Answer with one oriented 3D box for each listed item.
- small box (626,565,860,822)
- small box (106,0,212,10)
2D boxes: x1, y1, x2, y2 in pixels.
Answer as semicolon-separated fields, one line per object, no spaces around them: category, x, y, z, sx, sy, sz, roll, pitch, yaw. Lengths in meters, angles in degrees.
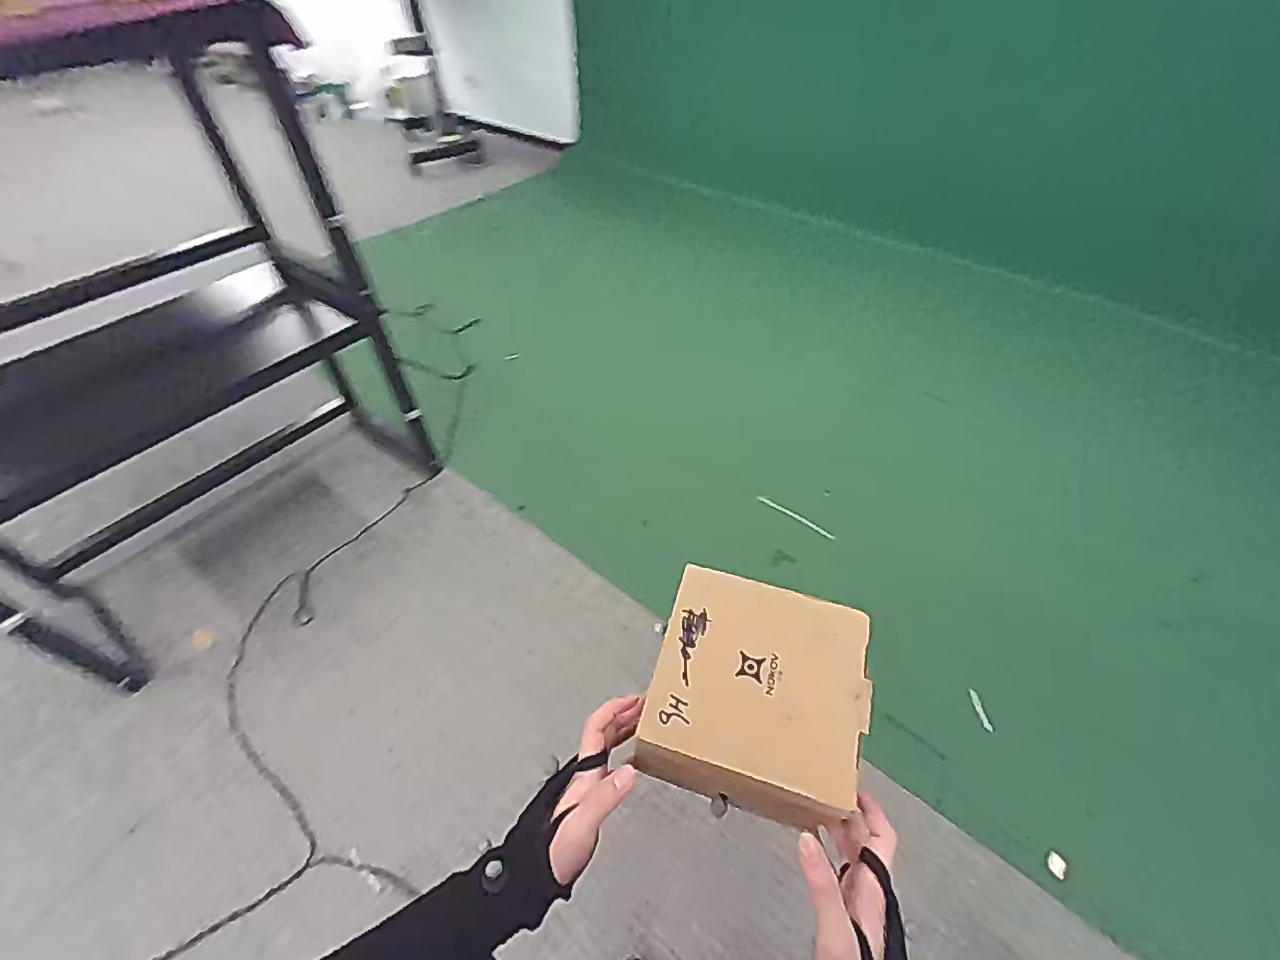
small box;0.093;0.212;0.526;0.179;0.176;0.168;14;53;9
small box;-0.993;-1.050;1.068;0.179;0.176;0.168;30;55;27
